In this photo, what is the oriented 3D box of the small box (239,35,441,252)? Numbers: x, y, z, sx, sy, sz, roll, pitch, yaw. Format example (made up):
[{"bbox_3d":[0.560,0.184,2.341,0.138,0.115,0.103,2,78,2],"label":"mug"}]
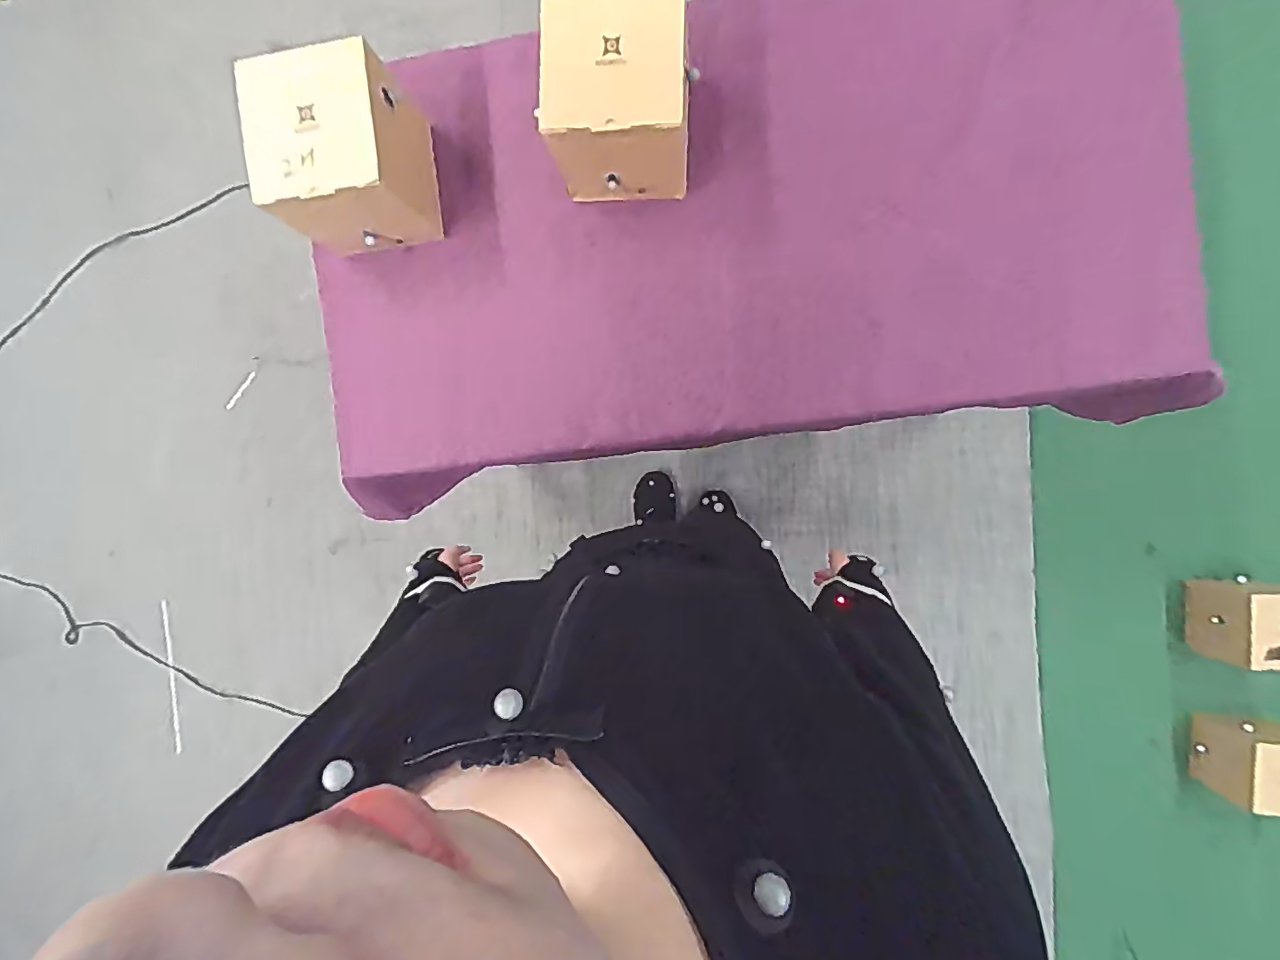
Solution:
[{"bbox_3d":[-0.386,-0.432,0.723,0.168,0.176,0.179,-6,91,6],"label":"small box"}]

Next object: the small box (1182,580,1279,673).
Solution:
[{"bbox_3d":[1.455,0.345,1.291,0.168,0.176,0.179,-1,90,6],"label":"small box"}]

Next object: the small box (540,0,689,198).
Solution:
[{"bbox_3d":[-0.024,-0.487,0.687,0.168,0.176,0.179,1,93,6],"label":"small box"}]
